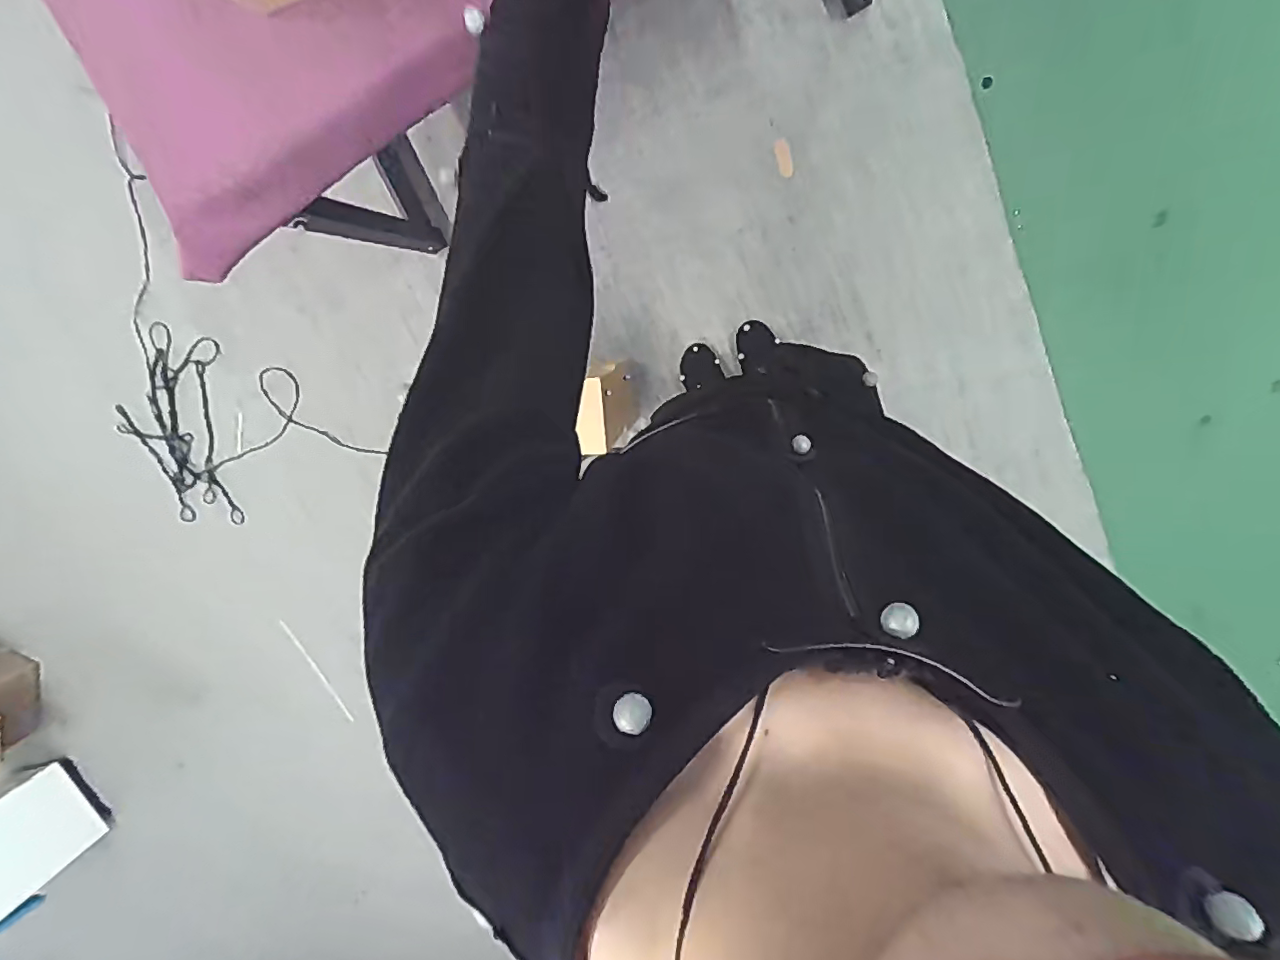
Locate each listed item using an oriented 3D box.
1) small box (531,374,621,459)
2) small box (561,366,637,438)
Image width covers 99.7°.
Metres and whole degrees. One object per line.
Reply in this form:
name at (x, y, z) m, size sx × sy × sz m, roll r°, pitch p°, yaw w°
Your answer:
small box at (-0.145, -0.154, 1.293) m, size 0.168 × 0.176 × 0.179 m, roll -1°, pitch 105°, yaw 11°
small box at (-0.111, -0.206, 1.442) m, size 0.168 × 0.176 × 0.179 m, roll -7°, pitch 106°, yaw 12°
